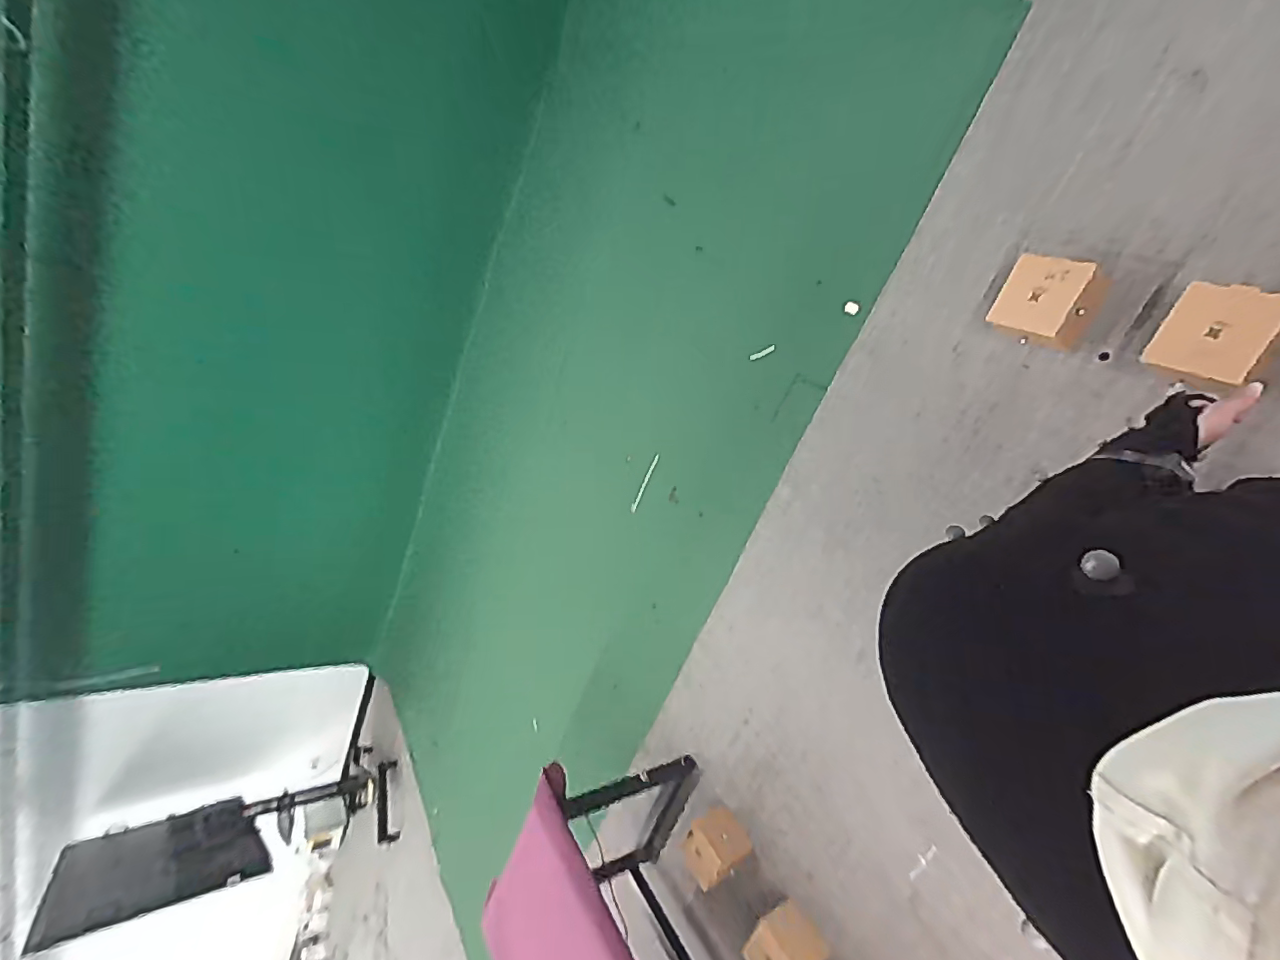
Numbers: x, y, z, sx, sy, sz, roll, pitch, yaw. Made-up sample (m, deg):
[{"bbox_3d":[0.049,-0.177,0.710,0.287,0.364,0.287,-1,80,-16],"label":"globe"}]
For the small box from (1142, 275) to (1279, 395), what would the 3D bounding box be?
[{"bbox_3d":[1.199,-0.296,1.119,0.168,0.176,0.179,41,116,45],"label":"small box"}]

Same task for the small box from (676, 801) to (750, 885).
[{"bbox_3d":[0.270,1.322,1.981,0.179,0.176,0.168,44,117,42],"label":"small box"}]

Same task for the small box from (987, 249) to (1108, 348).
[{"bbox_3d":[1.019,-0.447,1.348,0.168,0.176,0.179,41,115,44],"label":"small box"}]
